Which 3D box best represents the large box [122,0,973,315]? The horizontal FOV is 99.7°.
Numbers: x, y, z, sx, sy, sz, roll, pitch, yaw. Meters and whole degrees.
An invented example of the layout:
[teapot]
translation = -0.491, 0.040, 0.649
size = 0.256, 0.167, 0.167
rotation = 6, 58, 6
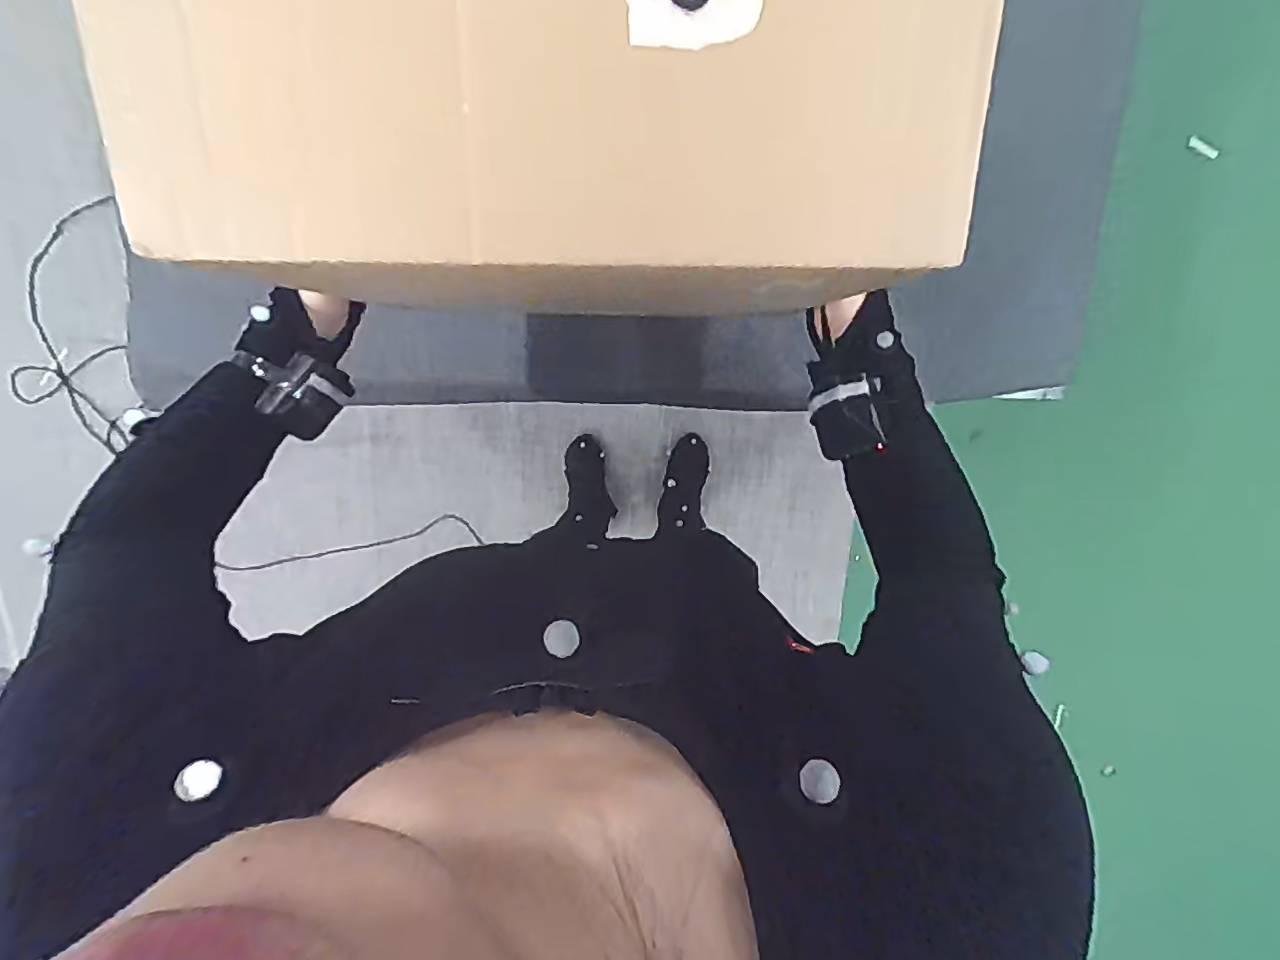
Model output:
[large box]
translation = -0.044, -0.295, 0.390
size = 0.408, 0.320, 0.320
rotation = 0, 104, -1
